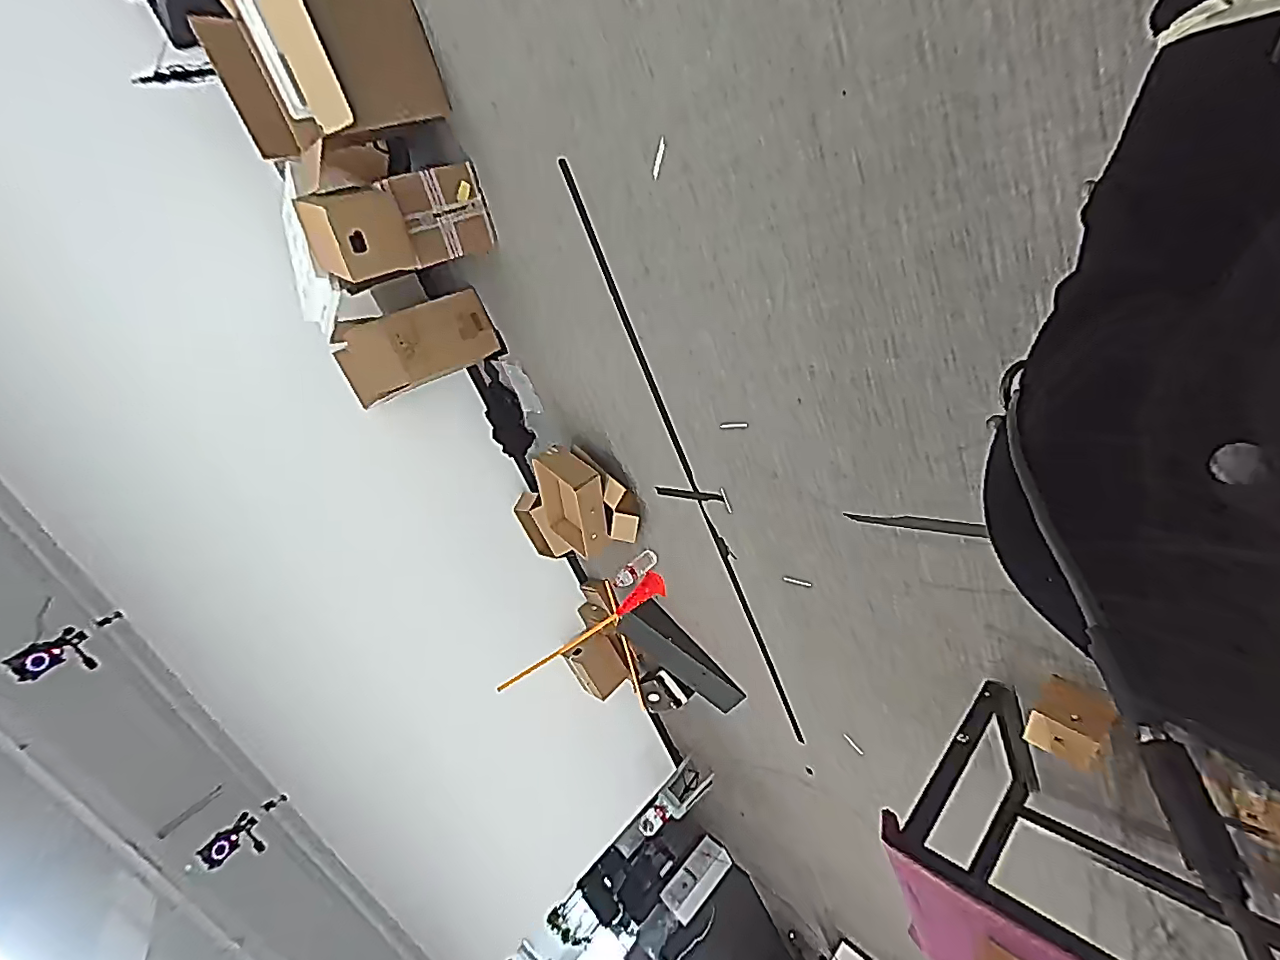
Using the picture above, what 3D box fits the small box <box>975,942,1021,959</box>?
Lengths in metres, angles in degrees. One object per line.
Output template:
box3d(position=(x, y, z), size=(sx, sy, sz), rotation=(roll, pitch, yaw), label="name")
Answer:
box3d(position=(0.954, 1.344, 1.384), size=(0.179, 0.176, 0.168), rotation=(7, 127, 53), label="small box")

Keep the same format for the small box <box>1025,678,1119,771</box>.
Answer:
box3d(position=(1.351, 0.755, 1.694), size=(0.179, 0.176, 0.168), rotation=(23, 137, 42), label="small box")
